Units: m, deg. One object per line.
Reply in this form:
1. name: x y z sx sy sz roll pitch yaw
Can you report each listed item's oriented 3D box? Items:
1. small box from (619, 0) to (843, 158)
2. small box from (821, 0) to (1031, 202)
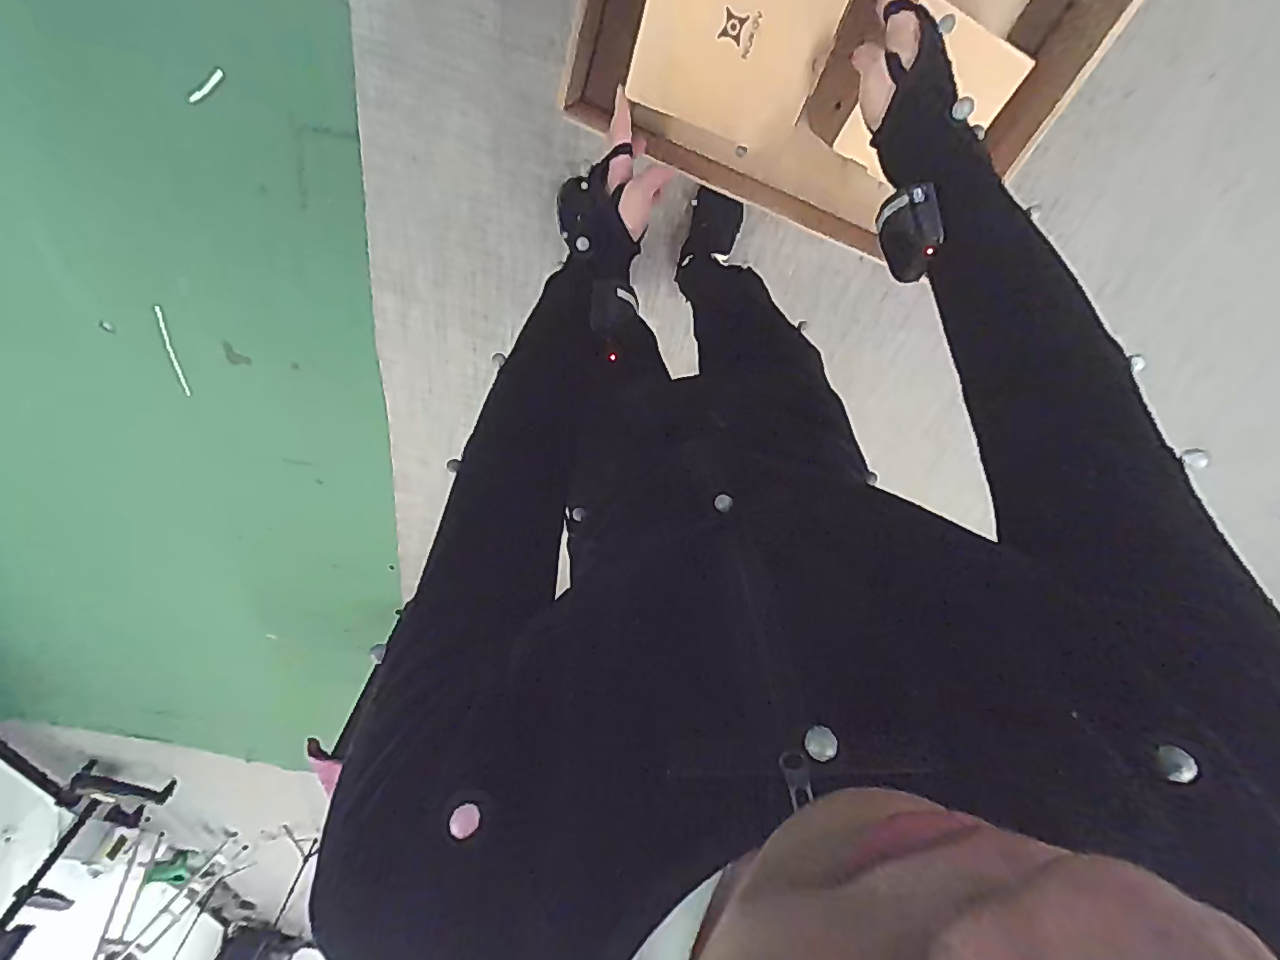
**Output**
1. small box: 0.091 -0.467 0.558 0.179 0.176 0.168 16 133 -8
2. small box: 0.367 -0.521 0.736 0.168 0.176 0.179 22 130 -11
